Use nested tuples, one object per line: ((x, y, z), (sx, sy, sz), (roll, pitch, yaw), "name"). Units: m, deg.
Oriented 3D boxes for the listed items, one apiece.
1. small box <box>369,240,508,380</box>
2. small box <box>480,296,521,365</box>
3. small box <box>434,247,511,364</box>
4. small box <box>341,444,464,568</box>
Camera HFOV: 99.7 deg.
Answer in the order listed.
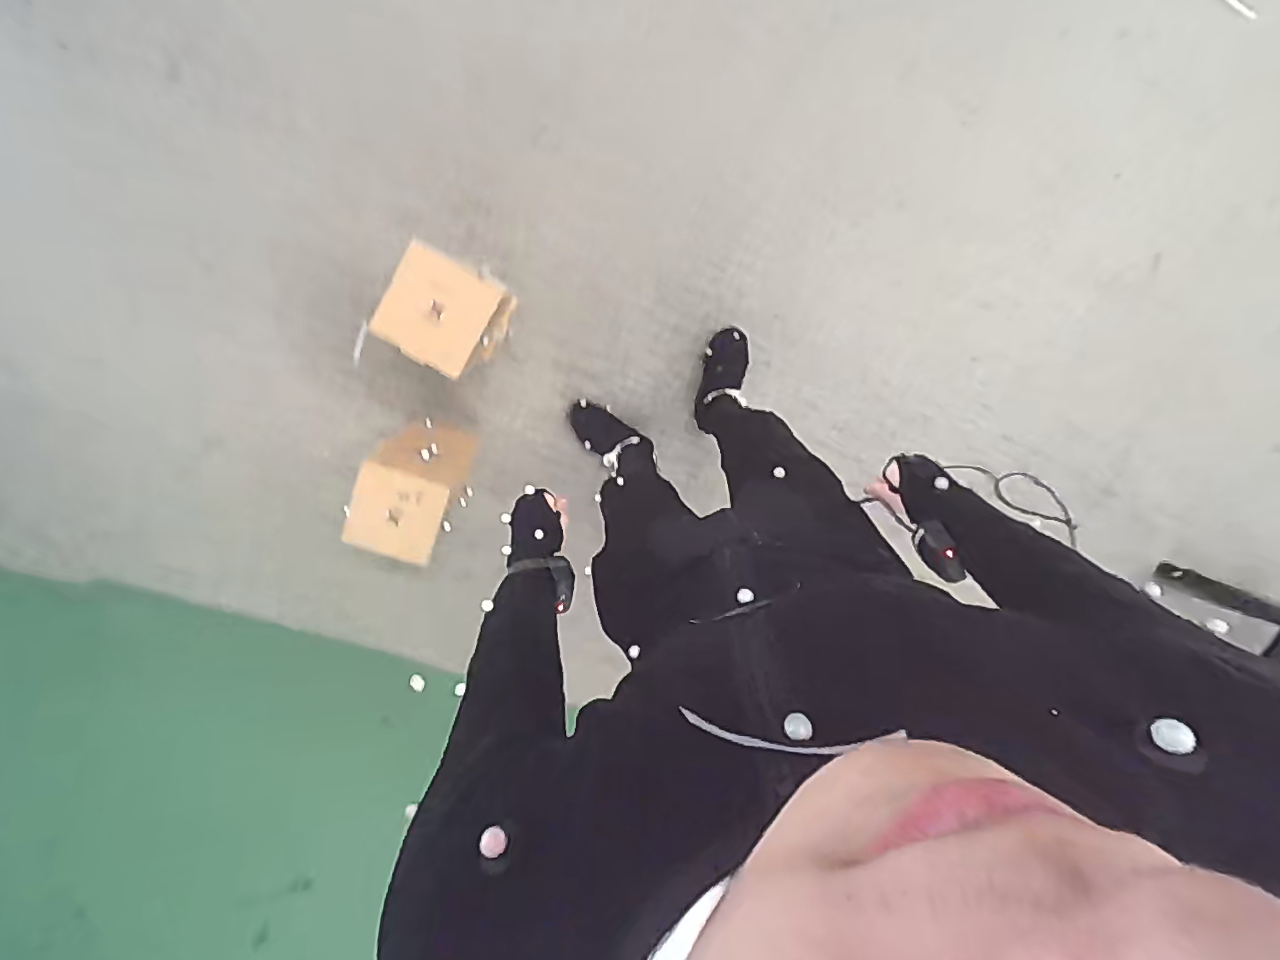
((-0.360, -0.310, 1.002), (0.168, 0.176, 0.179), (30, 101, -16), "small box")
((-0.403, -0.401, 1.311), (0.179, 0.176, 0.168), (28, 101, -15), "small box")
((-0.386, -0.366, 1.152), (0.168, 0.176, 0.179), (26, 102, -14), "small box")
((-0.469, 0.046, 1.093), (0.168, 0.176, 0.179), (19, 103, -12), "small box")
